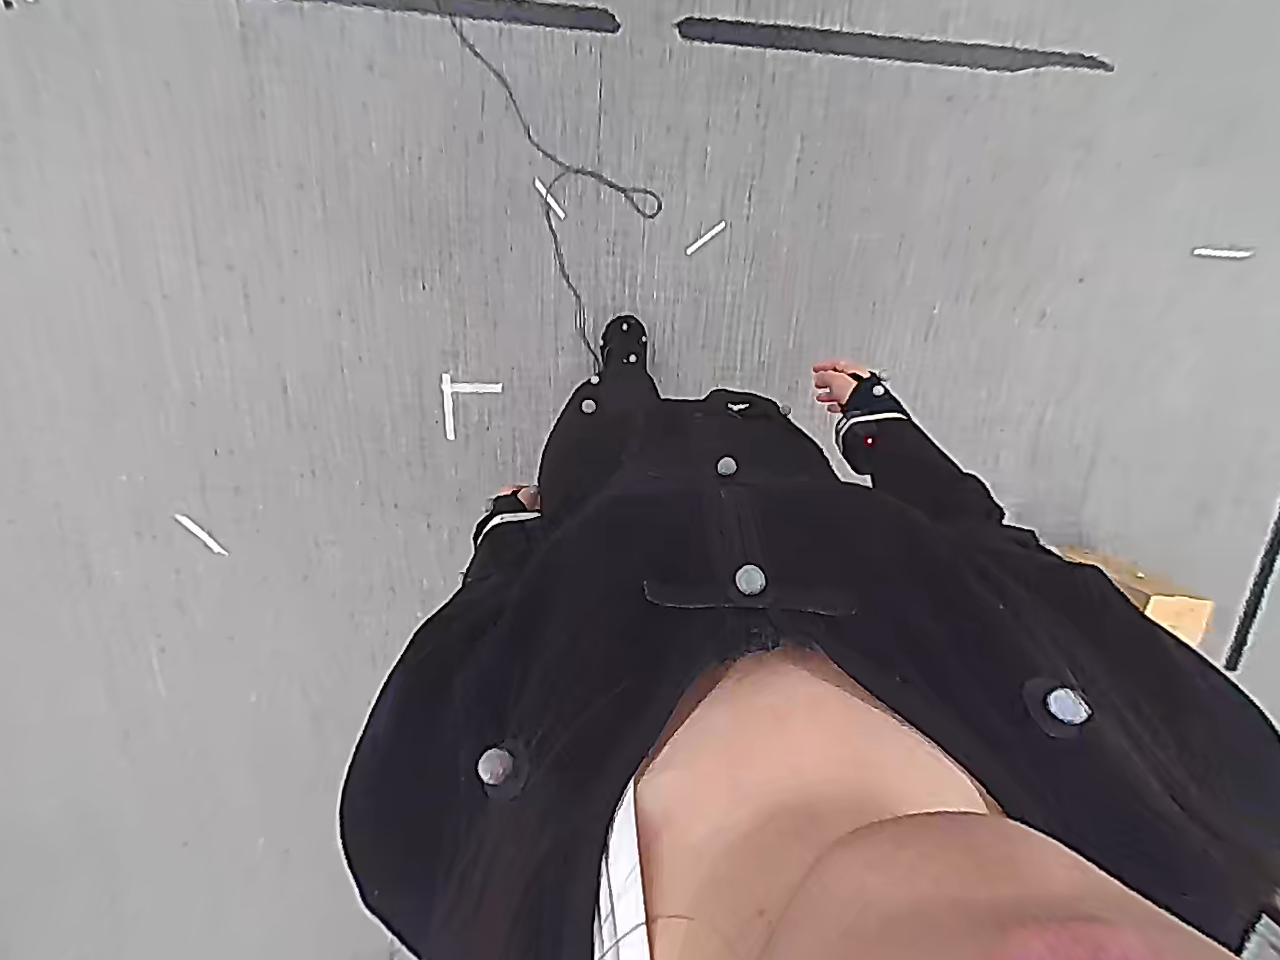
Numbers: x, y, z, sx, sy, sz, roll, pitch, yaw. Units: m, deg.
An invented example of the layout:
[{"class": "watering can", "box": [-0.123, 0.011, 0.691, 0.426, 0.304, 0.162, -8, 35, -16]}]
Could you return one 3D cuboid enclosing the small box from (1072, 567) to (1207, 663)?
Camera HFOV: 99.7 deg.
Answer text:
[{"class": "small box", "box": [1.269, 0.343, 1.389, 0.168, 0.176, 0.179, 6, 103, -4]}]
